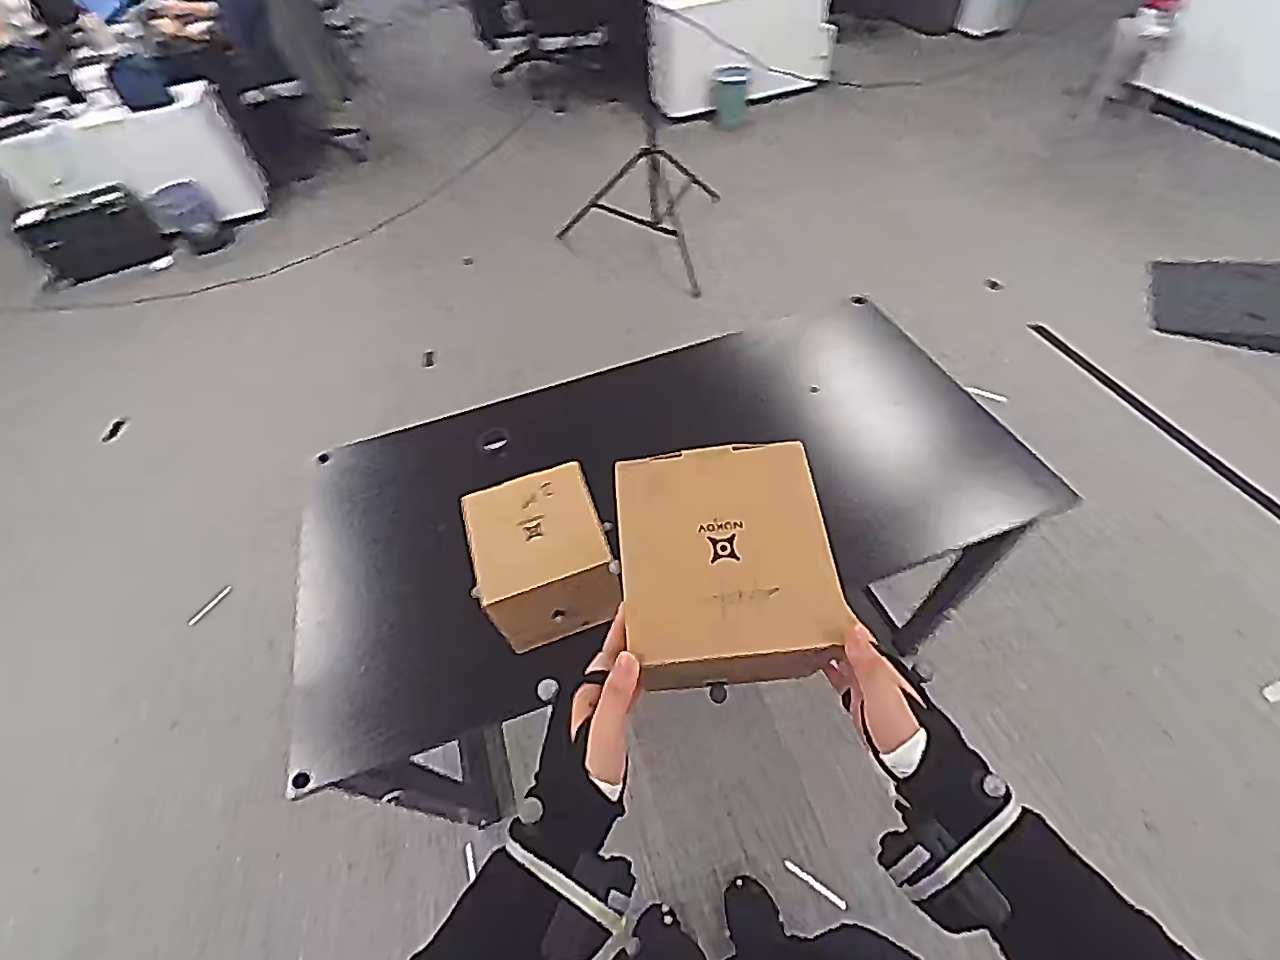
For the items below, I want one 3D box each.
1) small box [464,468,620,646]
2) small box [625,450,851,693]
[{"bbox_3d":[-0.135,0.118,0.777,0.168,0.176,0.179,-19,53,-9],"label":"small box"},{"bbox_3d":[0.076,0.093,0.509,0.168,0.176,0.179,-6,62,3],"label":"small box"}]
